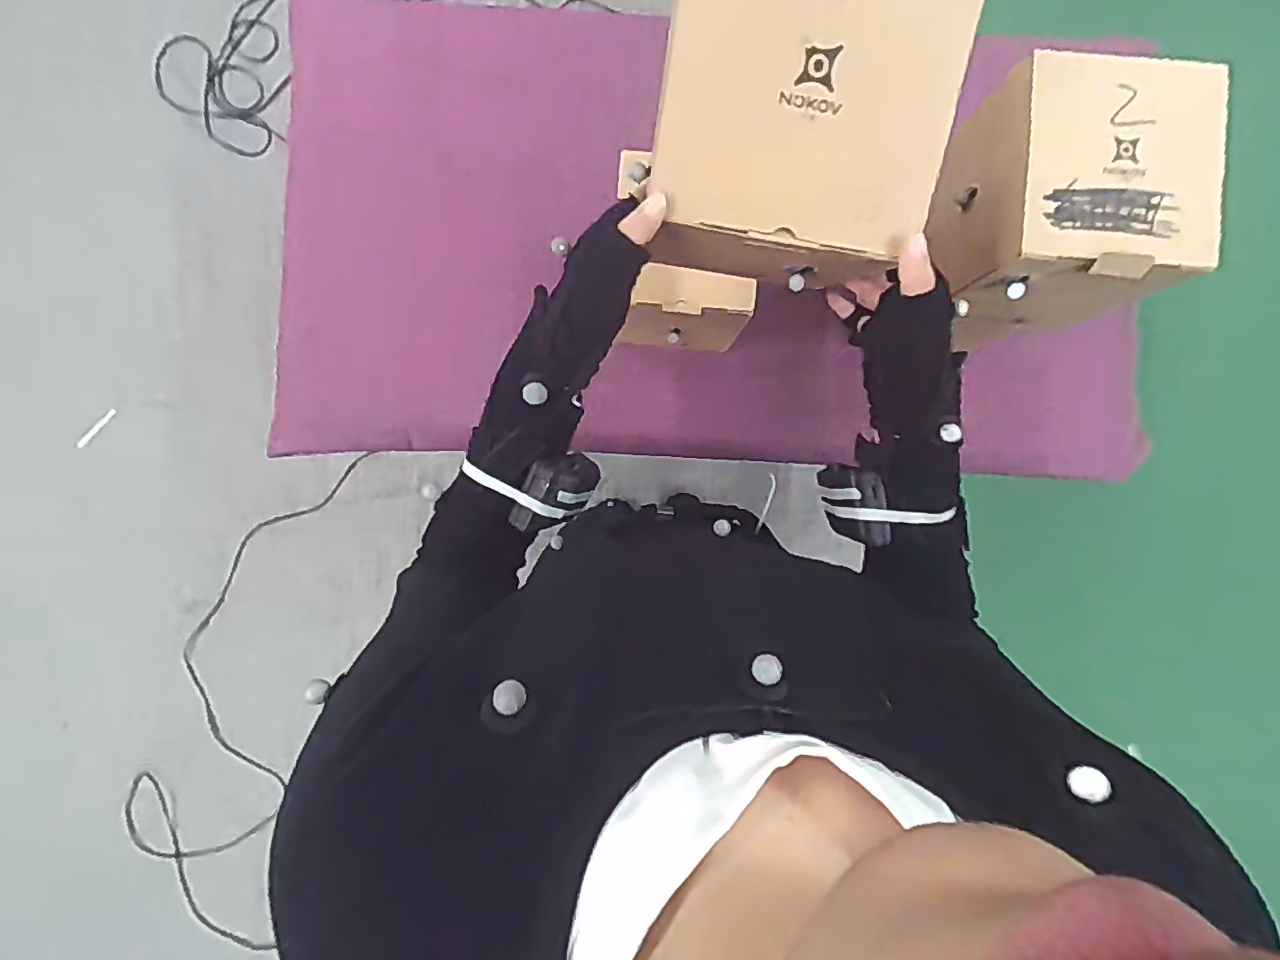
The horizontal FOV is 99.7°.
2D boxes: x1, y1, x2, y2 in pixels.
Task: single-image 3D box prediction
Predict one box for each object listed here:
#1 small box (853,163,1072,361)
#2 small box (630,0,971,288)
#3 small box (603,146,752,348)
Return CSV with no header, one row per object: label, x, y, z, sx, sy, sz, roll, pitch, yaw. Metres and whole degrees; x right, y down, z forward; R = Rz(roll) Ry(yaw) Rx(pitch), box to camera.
small box,0.391,-0.259,0.688,0.168,0.176,0.179,8,90,-3
small box,0.087,-0.243,0.381,0.168,0.176,0.179,9,103,-5
small box,0.050,-0.276,0.681,0.168,0.176,0.179,7,90,-2
